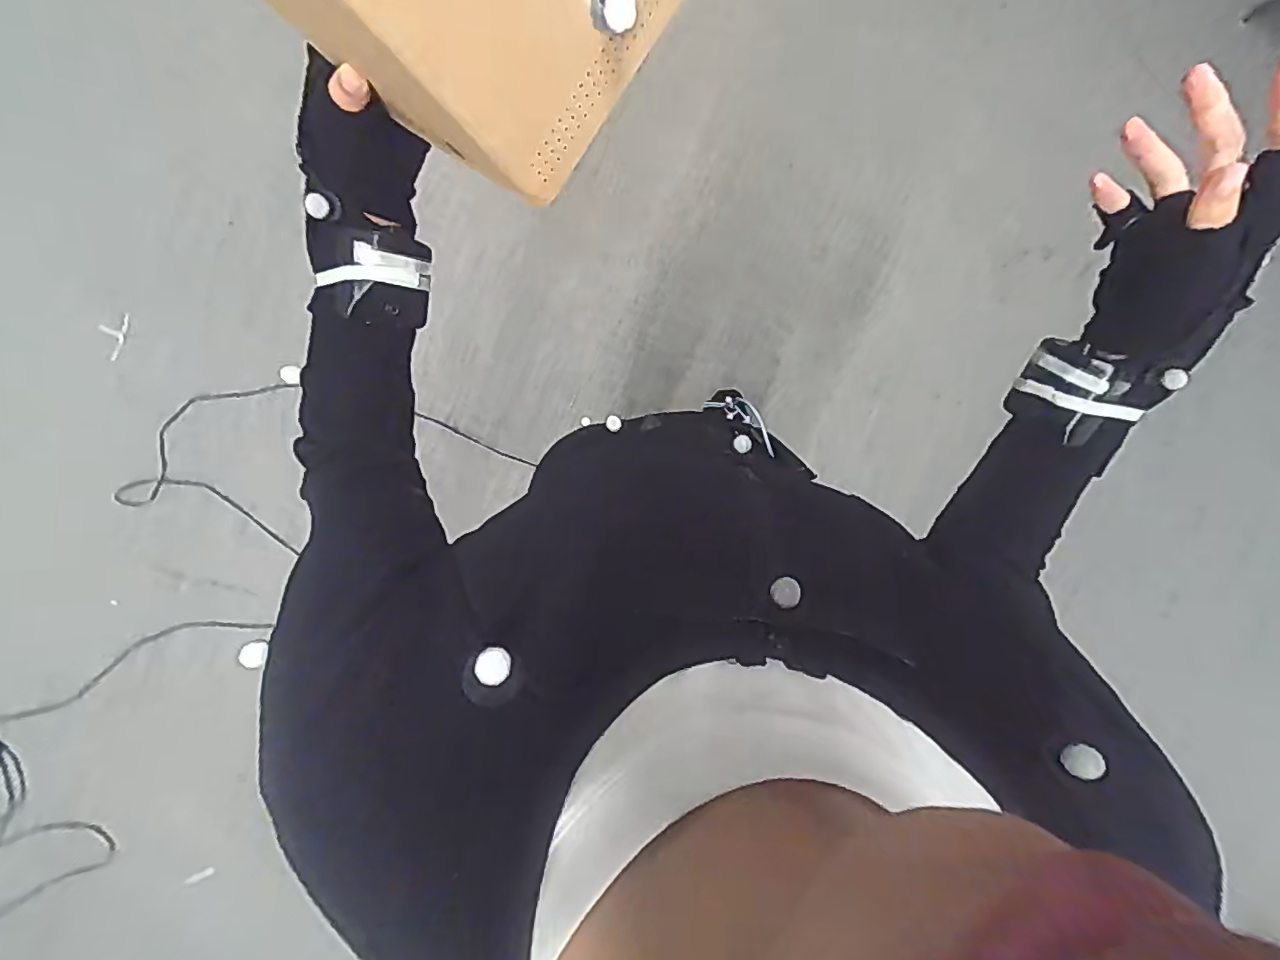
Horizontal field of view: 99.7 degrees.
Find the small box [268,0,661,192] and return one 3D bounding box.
[{"bbox_3d":[-0.093,-0.273,0.230,0.168,0.176,0.179,39,99,19],"label":"small box"}]
